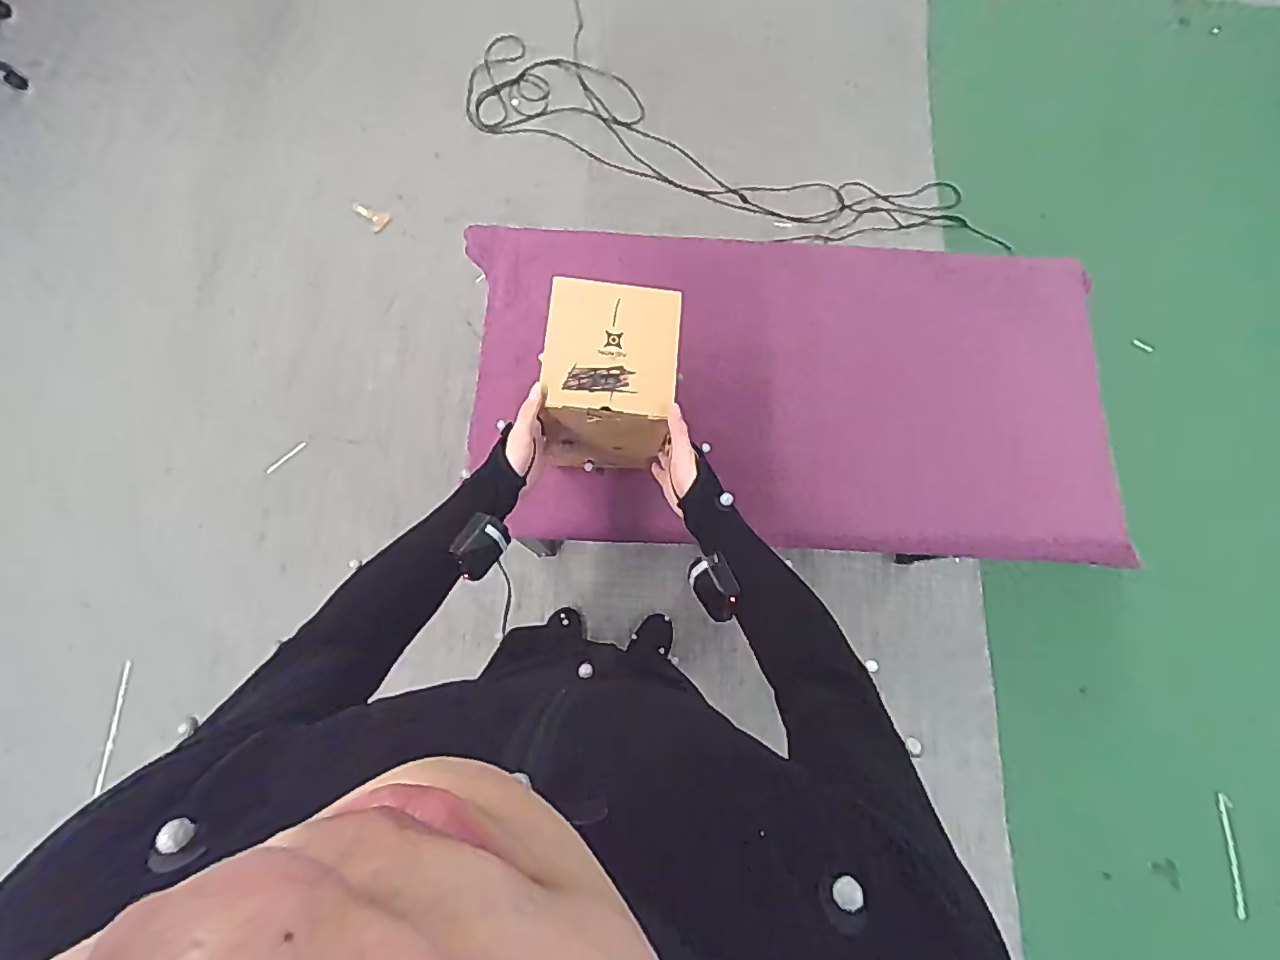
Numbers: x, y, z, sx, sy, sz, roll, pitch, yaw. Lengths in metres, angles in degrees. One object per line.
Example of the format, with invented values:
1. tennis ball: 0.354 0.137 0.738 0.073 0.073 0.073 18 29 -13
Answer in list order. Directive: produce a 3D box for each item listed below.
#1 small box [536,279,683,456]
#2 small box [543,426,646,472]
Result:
1. small box: -0.040 -0.141 0.735 0.168 0.176 0.179 6 76 -4
2. small box: -0.070 -0.122 0.925 0.168 0.176 0.179 1 76 -2
